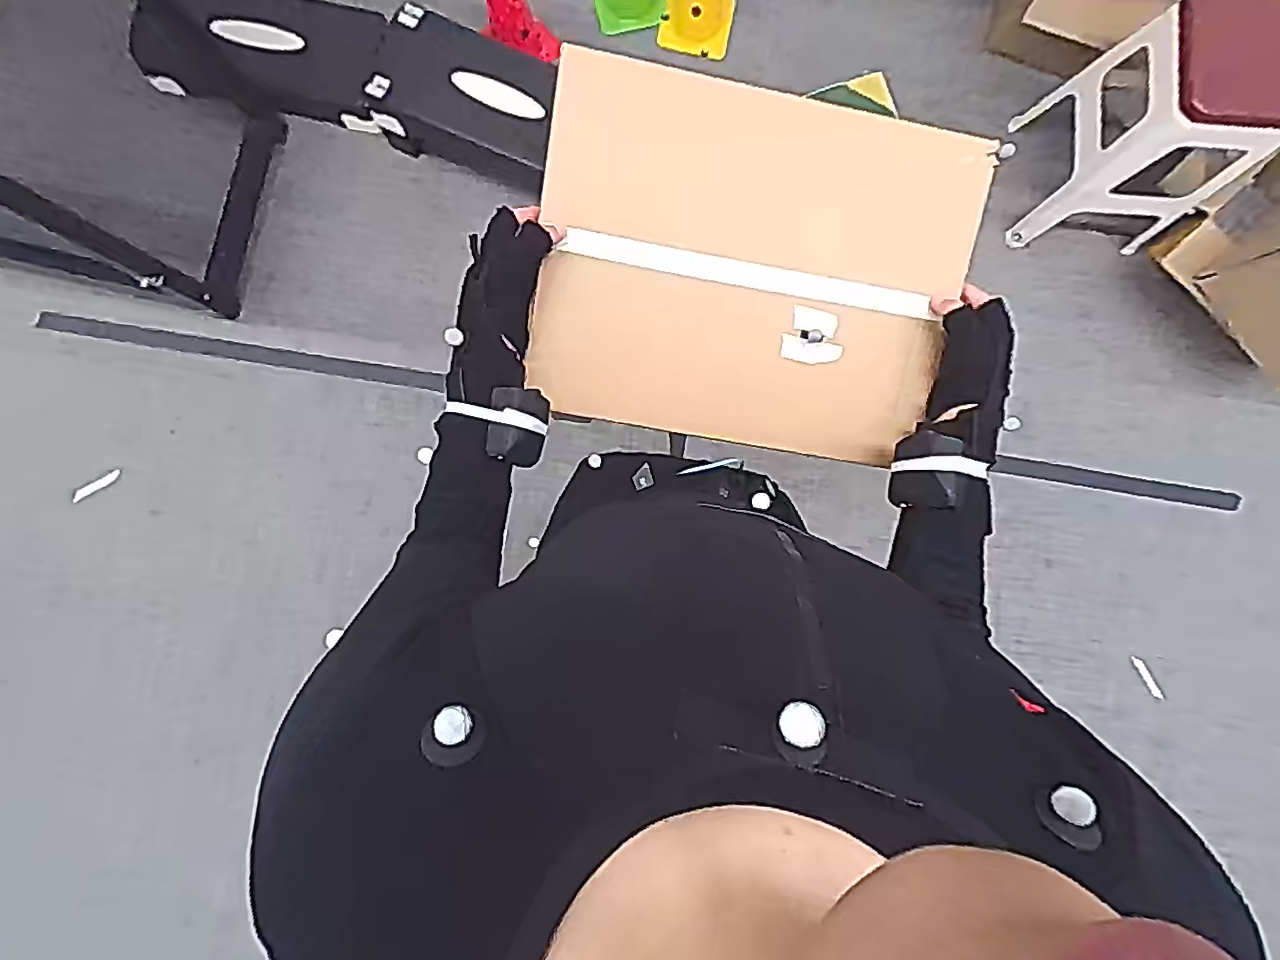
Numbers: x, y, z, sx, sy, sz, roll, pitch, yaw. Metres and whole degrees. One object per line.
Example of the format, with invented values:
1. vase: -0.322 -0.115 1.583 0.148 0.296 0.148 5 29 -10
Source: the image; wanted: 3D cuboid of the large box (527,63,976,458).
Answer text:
1. large box: 0.093 -0.224 0.668 0.408 0.320 0.320 9 101 -6
